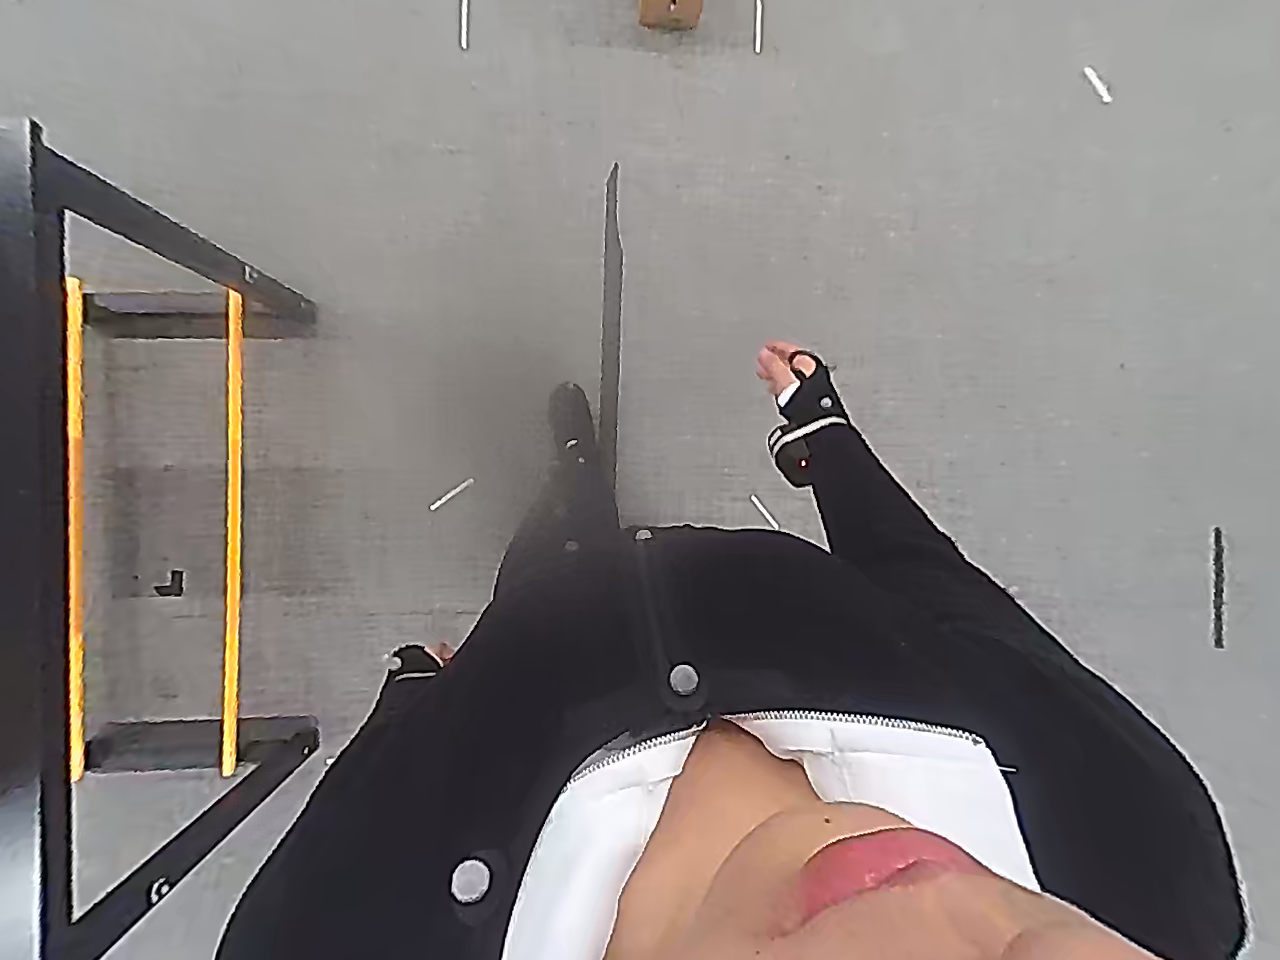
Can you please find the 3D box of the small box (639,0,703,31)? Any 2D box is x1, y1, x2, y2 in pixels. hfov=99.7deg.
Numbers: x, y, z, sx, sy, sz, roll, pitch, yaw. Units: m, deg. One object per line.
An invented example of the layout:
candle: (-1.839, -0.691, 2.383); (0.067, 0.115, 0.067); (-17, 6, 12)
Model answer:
small box: (0.086, -1.323, 1.410); (0.168, 0.176, 0.179); (1, 91, -4)
